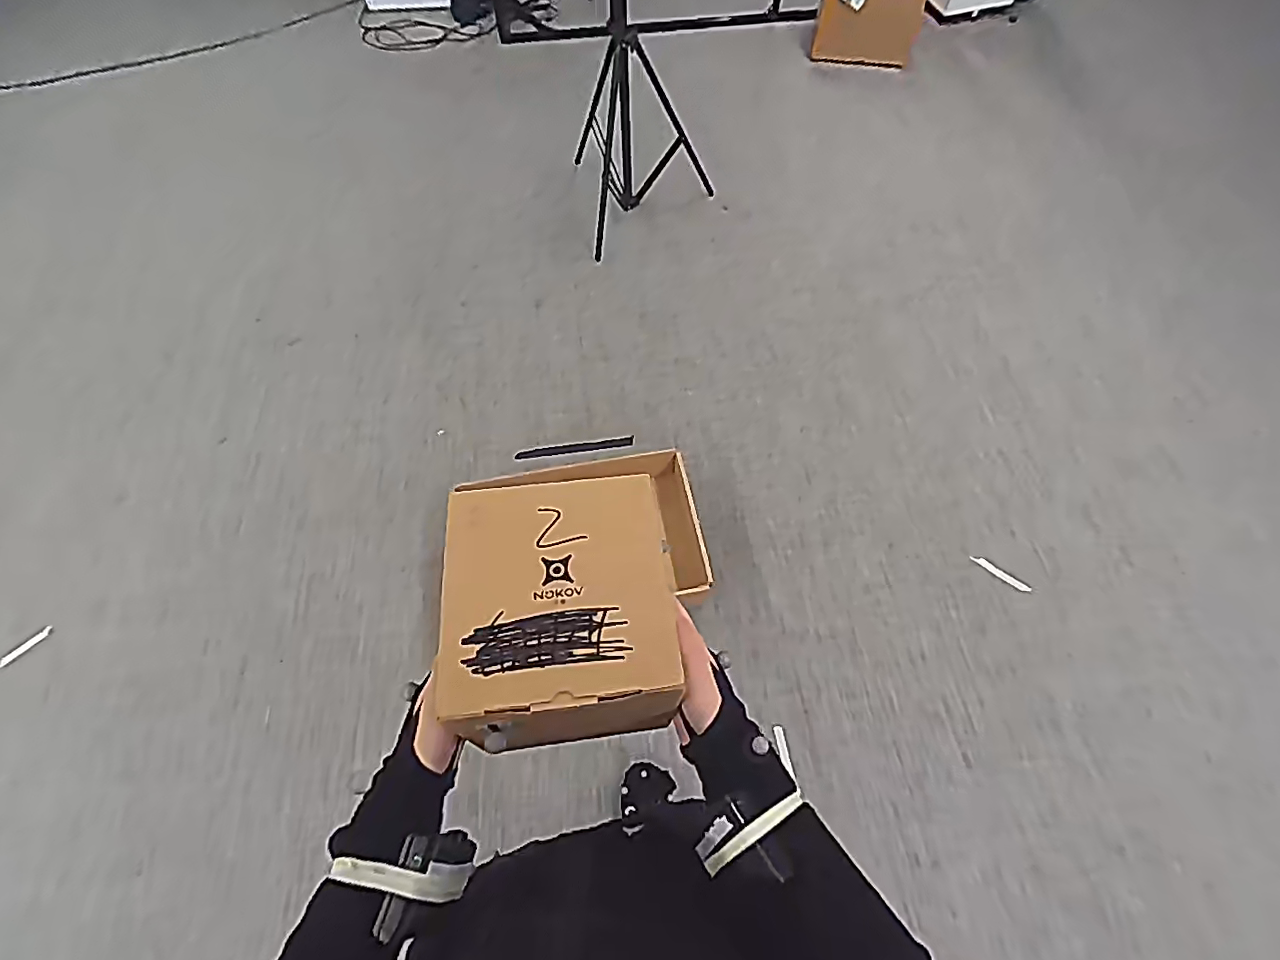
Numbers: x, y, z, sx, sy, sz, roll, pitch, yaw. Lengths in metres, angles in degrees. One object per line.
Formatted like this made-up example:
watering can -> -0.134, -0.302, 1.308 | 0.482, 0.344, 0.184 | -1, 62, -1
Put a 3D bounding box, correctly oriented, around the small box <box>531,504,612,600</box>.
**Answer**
small box -> -0.172, 0.189, 1.393 | 0.168, 0.176, 0.179 | -15, 64, -6
